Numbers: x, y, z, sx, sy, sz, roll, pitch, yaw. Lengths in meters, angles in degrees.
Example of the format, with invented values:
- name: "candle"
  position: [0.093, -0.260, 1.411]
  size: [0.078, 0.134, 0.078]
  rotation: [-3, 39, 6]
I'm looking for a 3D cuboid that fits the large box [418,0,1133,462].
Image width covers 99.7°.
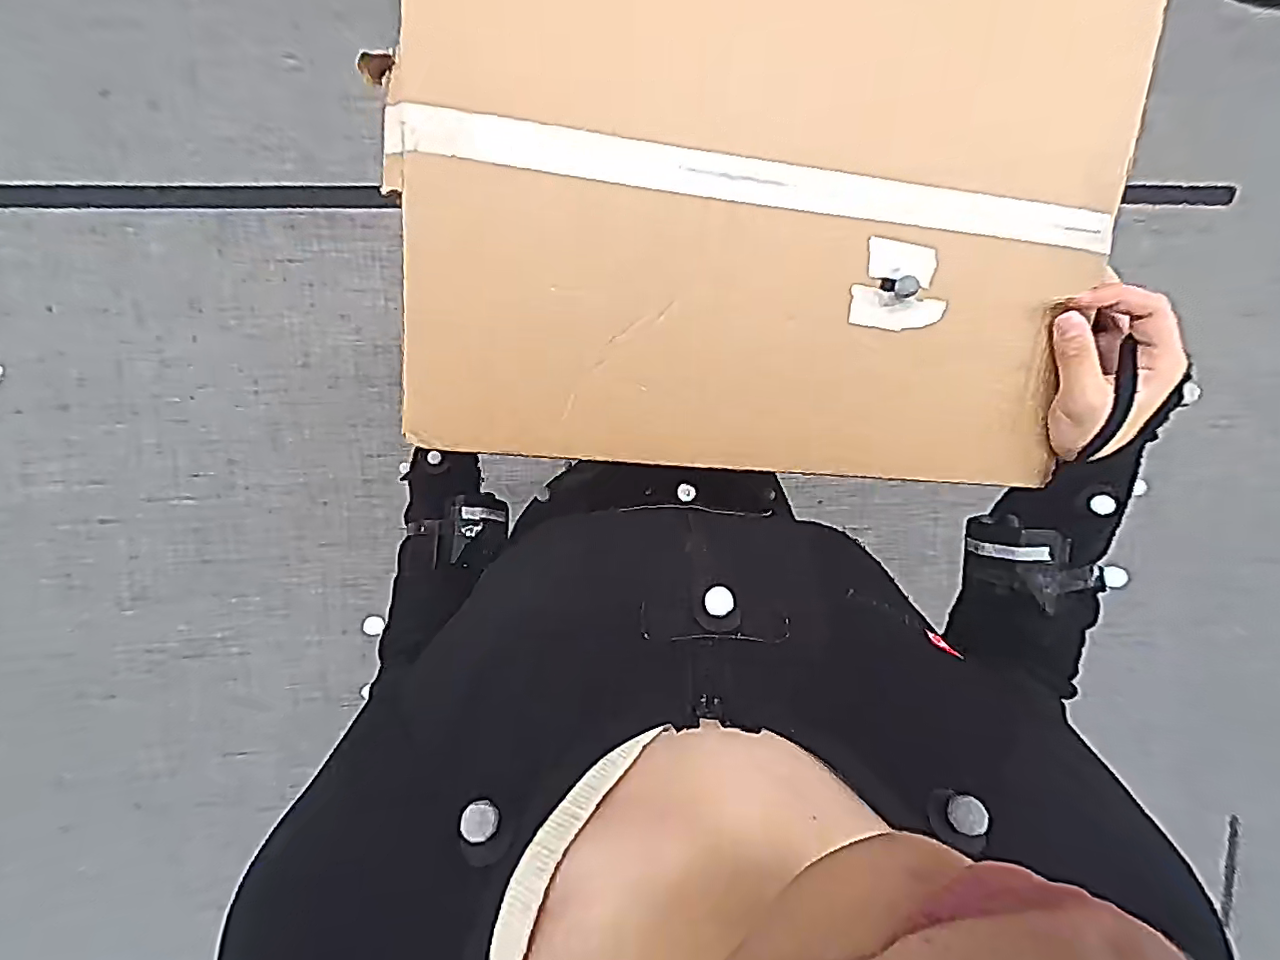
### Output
- name: "large box"
  position: [0.057, -0.198, 0.447]
  size: [0.408, 0.320, 0.320]
  rotation: [3, 102, -11]
